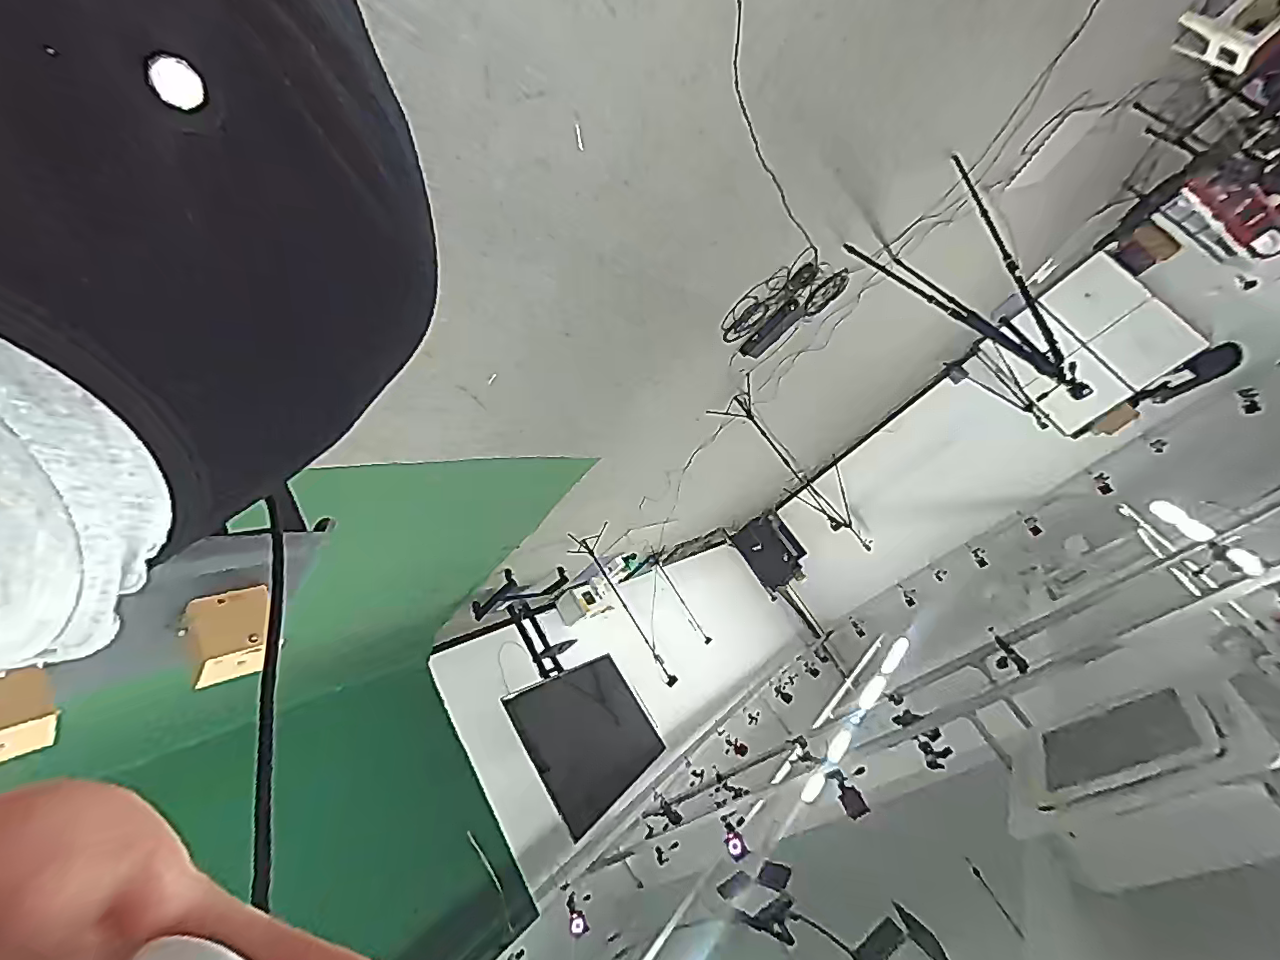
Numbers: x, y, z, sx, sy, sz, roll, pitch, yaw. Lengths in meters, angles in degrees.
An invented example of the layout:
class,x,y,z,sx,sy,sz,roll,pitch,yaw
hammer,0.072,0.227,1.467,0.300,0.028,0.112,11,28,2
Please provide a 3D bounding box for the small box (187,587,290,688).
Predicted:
class,x,y,z,sx,sy,sz,roll,pitch,yaw
small box,-1.050,0.405,1.410,0.179,0.176,0.168,-45,160,32

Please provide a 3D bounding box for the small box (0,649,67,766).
class,x,y,z,sx,sy,sz,roll,pitch,yaw
small box,-1.330,0.483,1.123,0.168,0.176,0.179,-12,151,-53
